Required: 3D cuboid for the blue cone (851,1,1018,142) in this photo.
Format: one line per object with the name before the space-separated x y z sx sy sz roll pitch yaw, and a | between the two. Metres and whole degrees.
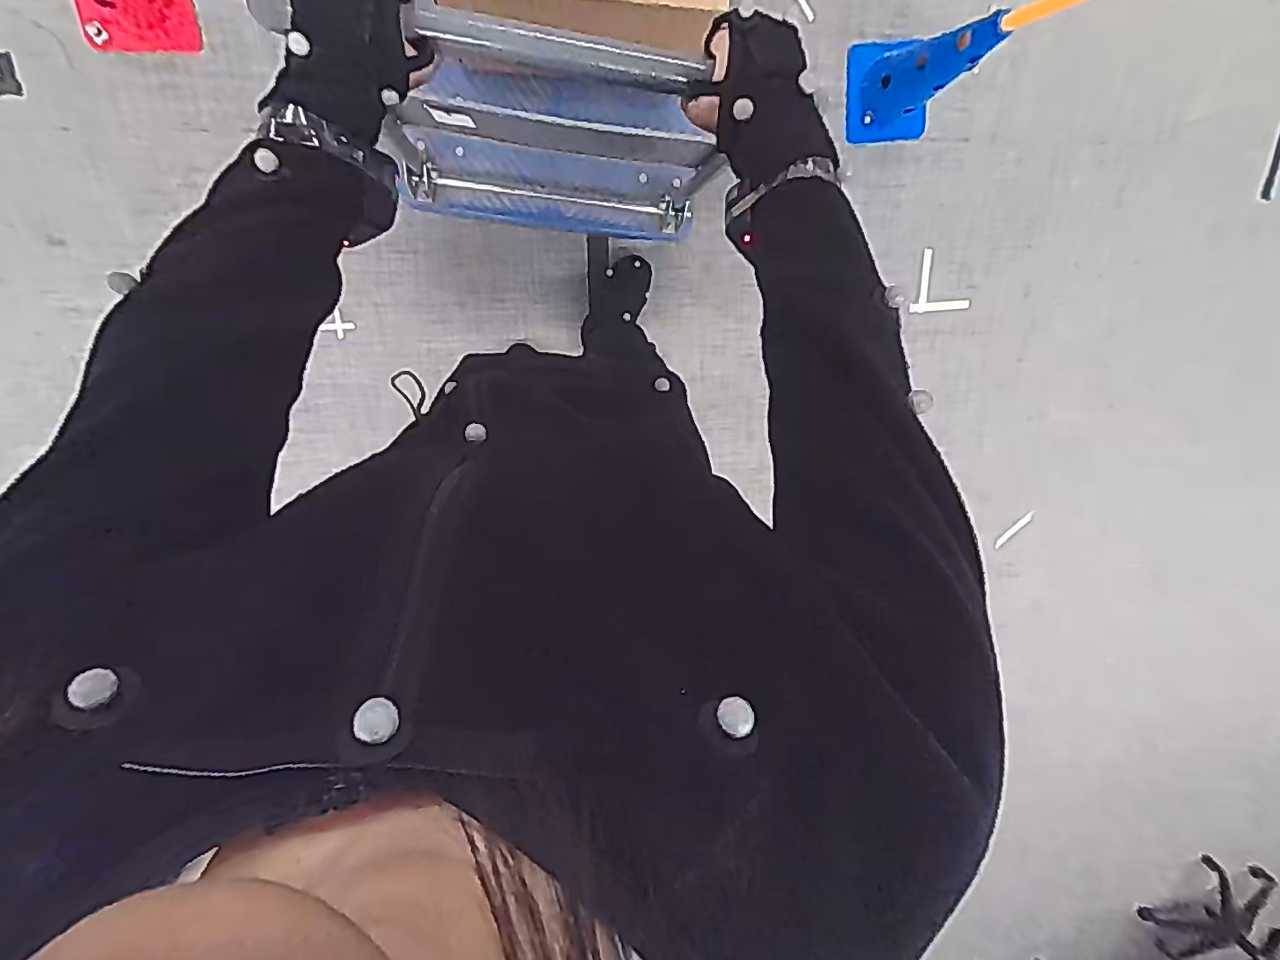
blue cone | 0.605 -0.849 1.104 0.193 0.380 0.192 -7 109 -7
